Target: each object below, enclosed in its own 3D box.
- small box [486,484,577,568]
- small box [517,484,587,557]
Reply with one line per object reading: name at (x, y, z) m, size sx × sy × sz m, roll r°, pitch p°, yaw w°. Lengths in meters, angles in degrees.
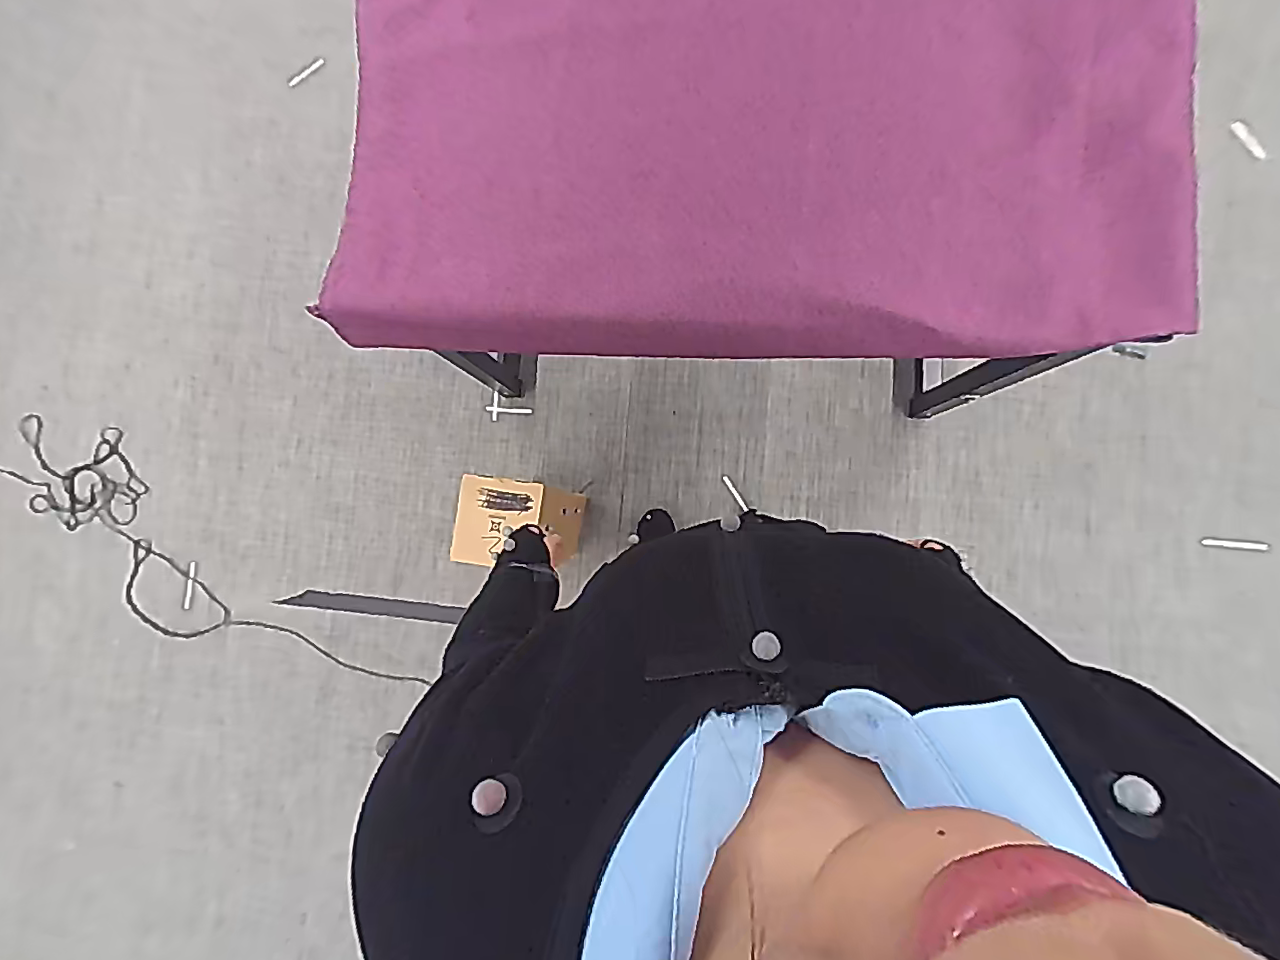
small box at (-0.251, 0.108, 1.291) m, size 0.168 × 0.176 × 0.179 m, roll 5°, pitch 87°, yaw 5°
small box at (-0.246, 0.115, 1.456) m, size 0.168 × 0.176 × 0.179 m, roll 10°, pitch 87°, yaw 5°
